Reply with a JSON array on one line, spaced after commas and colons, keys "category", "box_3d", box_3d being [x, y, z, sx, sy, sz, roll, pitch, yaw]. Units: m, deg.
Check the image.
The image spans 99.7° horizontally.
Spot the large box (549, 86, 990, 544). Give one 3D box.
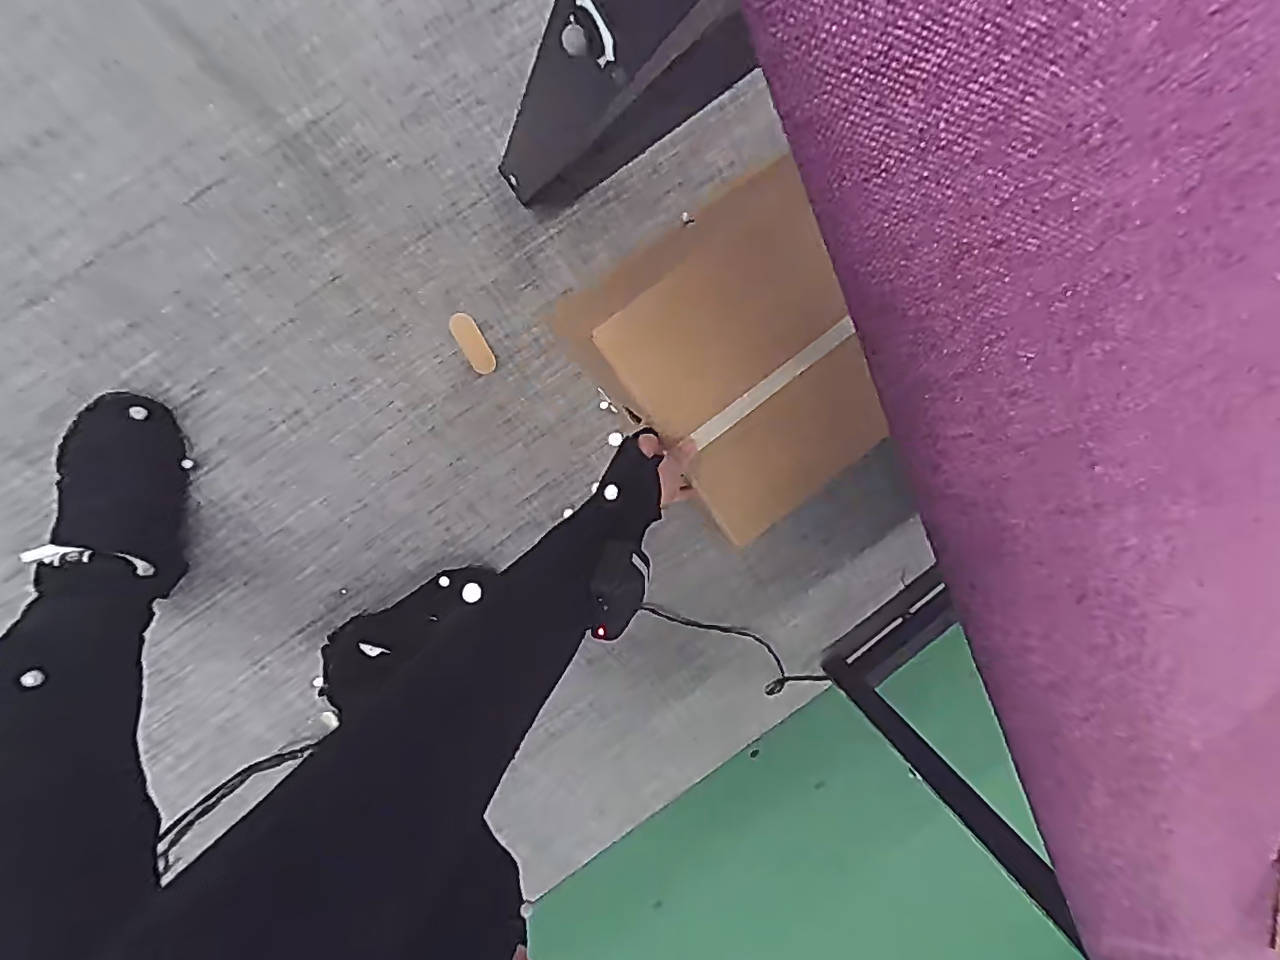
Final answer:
[{"category": "large box", "box_3d": [0.144, -0.198, 0.714, 0.408, 0.320, 0.320, -38, 117, -3]}]
